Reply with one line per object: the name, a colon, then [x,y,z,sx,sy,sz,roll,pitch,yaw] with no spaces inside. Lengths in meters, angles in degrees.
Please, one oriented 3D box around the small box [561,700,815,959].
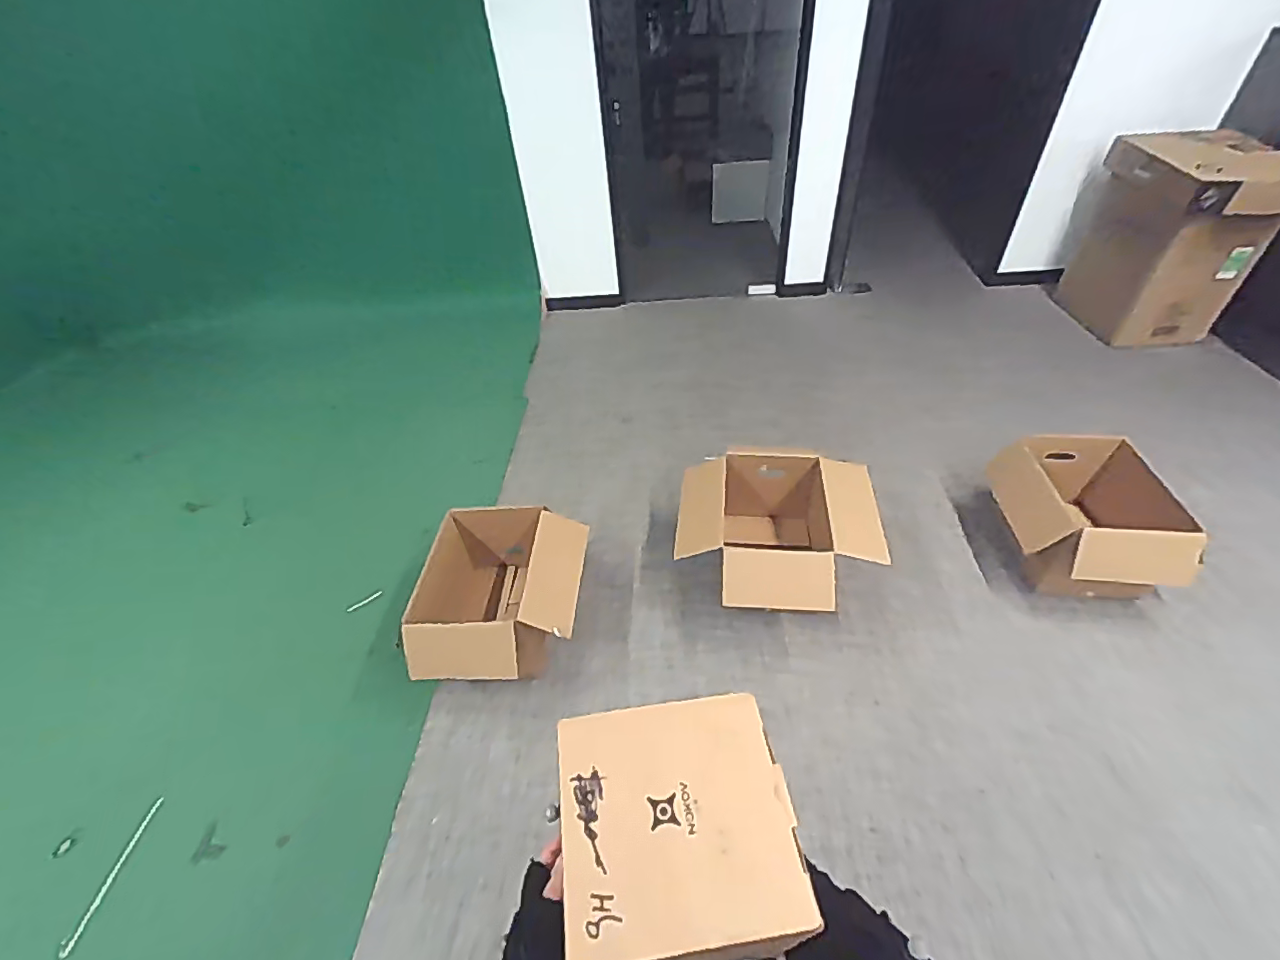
small box: [0.024,0.314,0.472,0.179,0.176,0.168,-4,43,-6]
